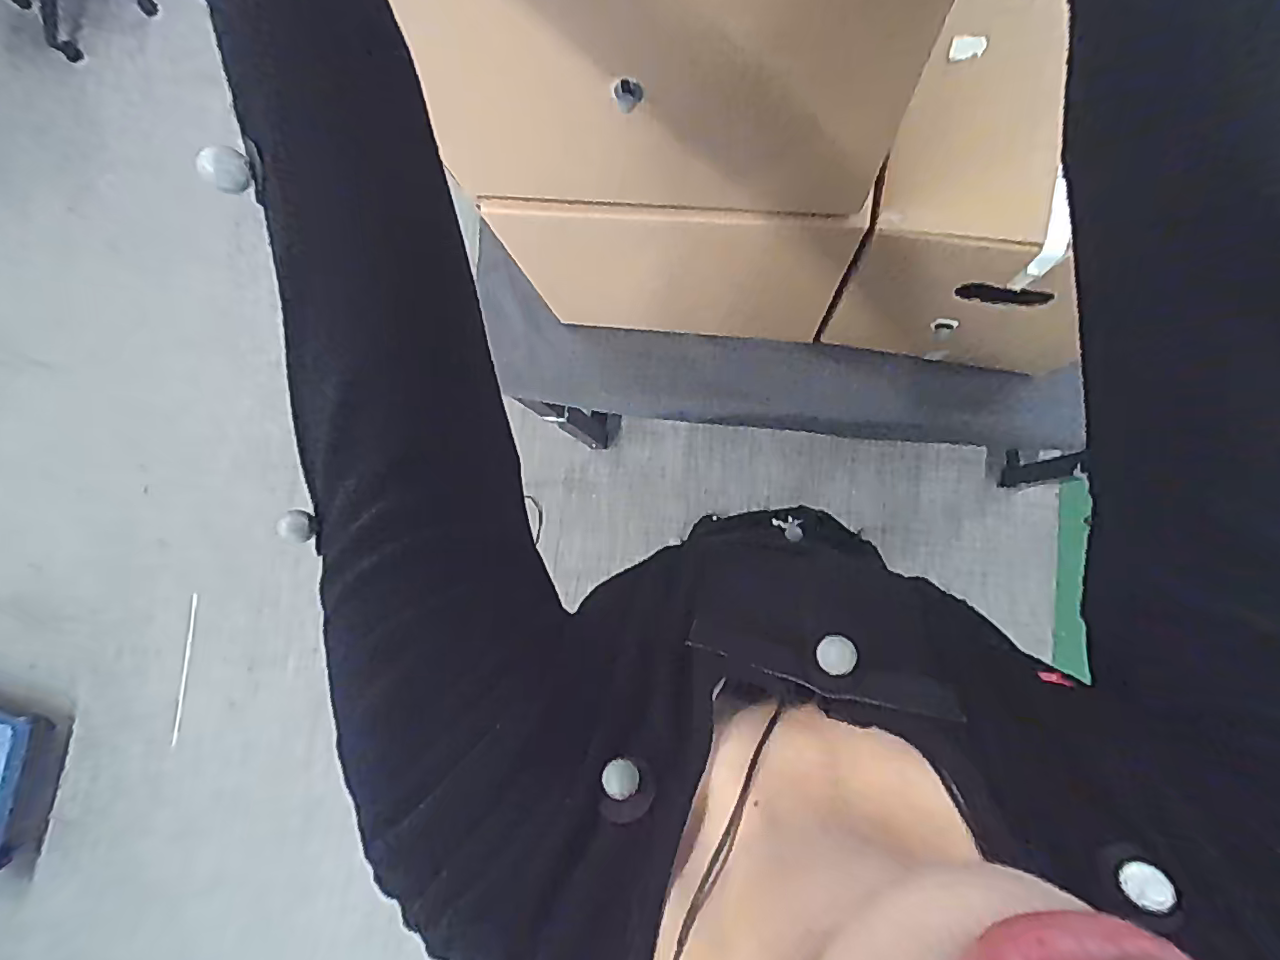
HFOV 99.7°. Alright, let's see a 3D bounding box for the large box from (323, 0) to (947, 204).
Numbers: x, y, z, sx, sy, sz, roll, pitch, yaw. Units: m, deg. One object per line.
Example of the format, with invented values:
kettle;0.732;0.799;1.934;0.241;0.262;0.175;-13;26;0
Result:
large box;0.010;-0.442;0.407;0.408;0.320;0.320;7;84;10
